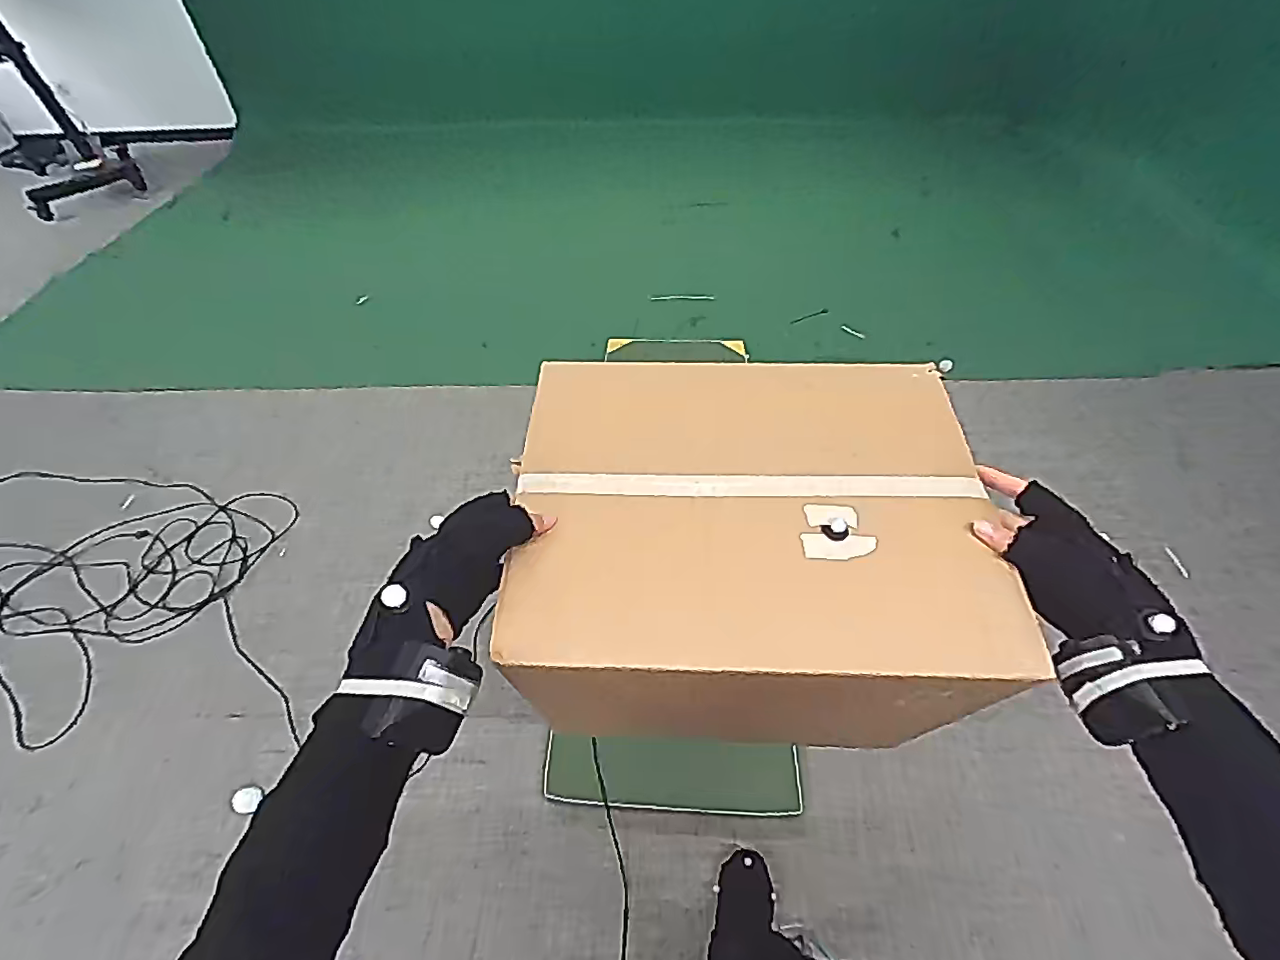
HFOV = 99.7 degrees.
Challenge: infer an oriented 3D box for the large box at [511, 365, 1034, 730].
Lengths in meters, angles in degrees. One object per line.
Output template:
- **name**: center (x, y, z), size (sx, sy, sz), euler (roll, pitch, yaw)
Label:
- **large box**: center (0.100, 0.089, 0.610), size (0.408, 0.320, 0.320), euler (1, 56, 1)
